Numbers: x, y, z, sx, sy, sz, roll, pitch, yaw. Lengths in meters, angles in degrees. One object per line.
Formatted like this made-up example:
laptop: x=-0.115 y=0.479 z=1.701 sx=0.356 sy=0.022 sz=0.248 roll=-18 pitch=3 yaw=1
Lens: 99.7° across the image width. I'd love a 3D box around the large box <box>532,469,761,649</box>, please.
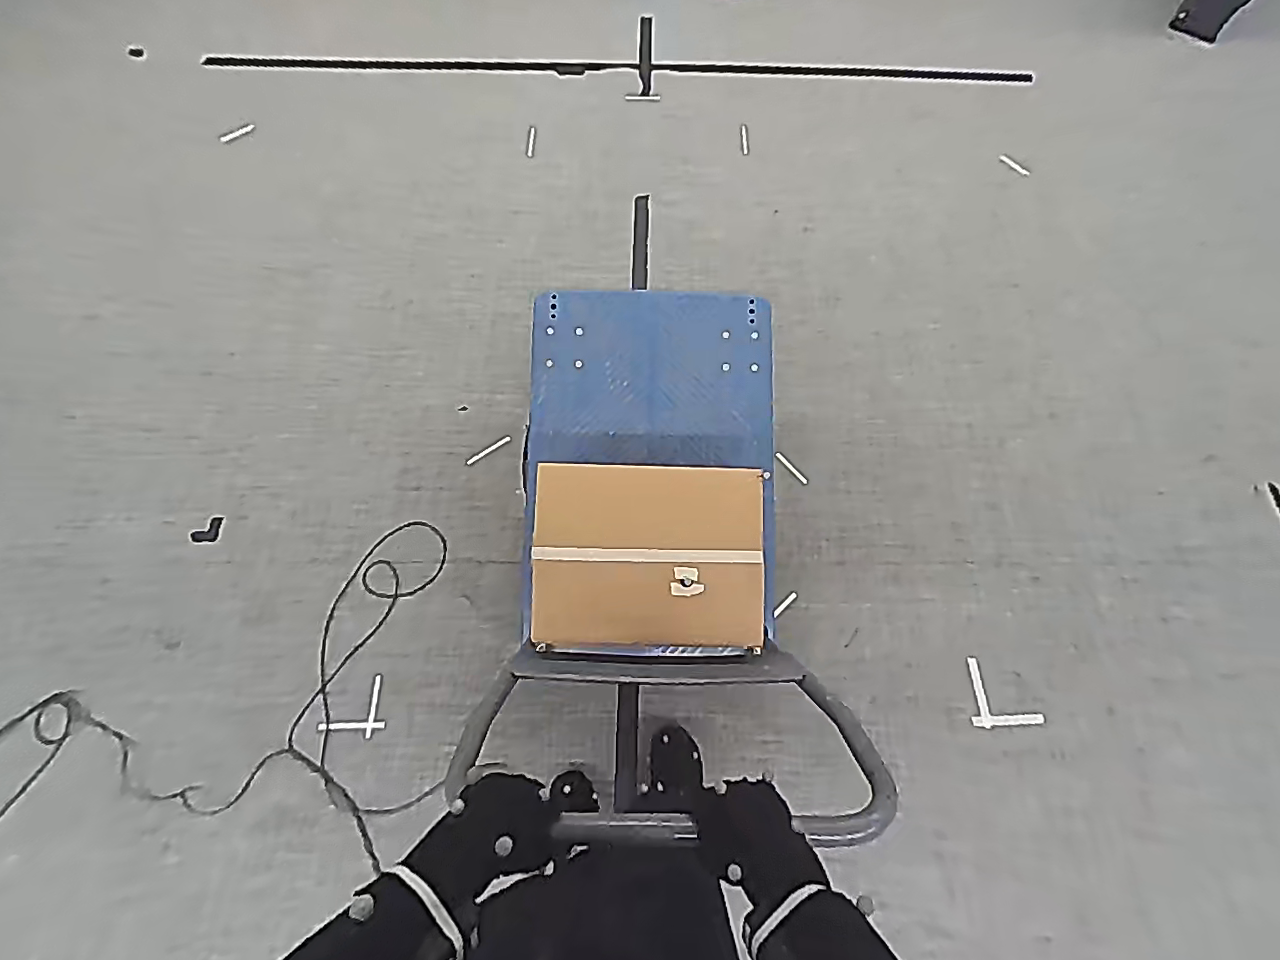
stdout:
large box: x=0.006 y=0.152 z=1.091 sx=0.408 sy=0.320 sz=0.320 roll=2 pitch=85 yaw=-2
